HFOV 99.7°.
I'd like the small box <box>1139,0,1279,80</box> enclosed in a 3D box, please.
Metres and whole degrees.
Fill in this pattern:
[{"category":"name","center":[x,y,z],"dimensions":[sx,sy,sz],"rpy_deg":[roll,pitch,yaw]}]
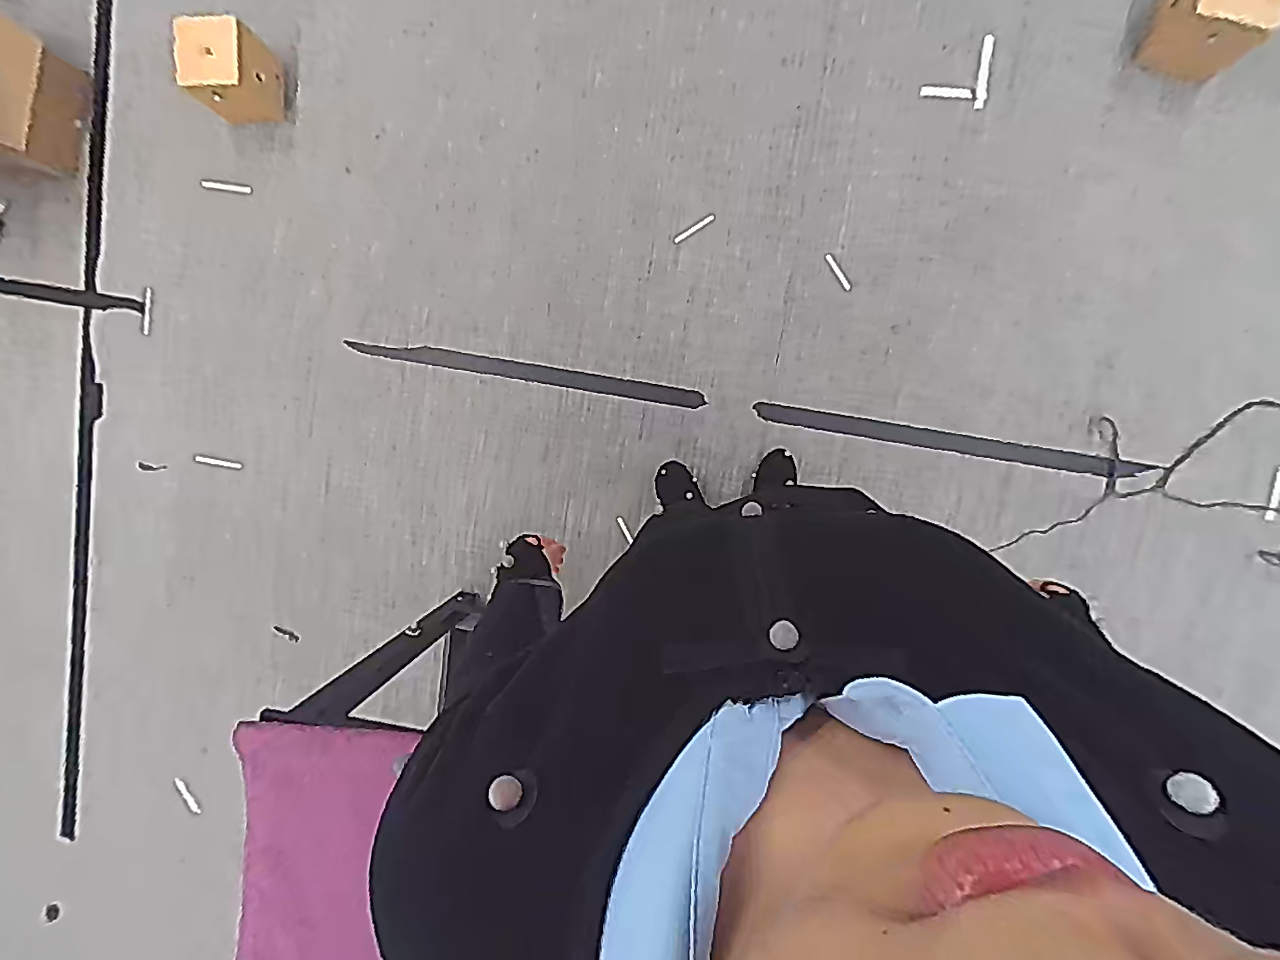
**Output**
[{"category":"small box","center":[1.297,-1.050,1.217],"dimensions":[0.179,0.176,0.168],"rpy_deg":[18,97,4]}]

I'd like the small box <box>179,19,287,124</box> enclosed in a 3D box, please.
[{"category":"small box","center":[-1.087,-1.093,1.458],"dimensions":[0.179,0.176,0.168],"rpy_deg":[2,95,6]}]
